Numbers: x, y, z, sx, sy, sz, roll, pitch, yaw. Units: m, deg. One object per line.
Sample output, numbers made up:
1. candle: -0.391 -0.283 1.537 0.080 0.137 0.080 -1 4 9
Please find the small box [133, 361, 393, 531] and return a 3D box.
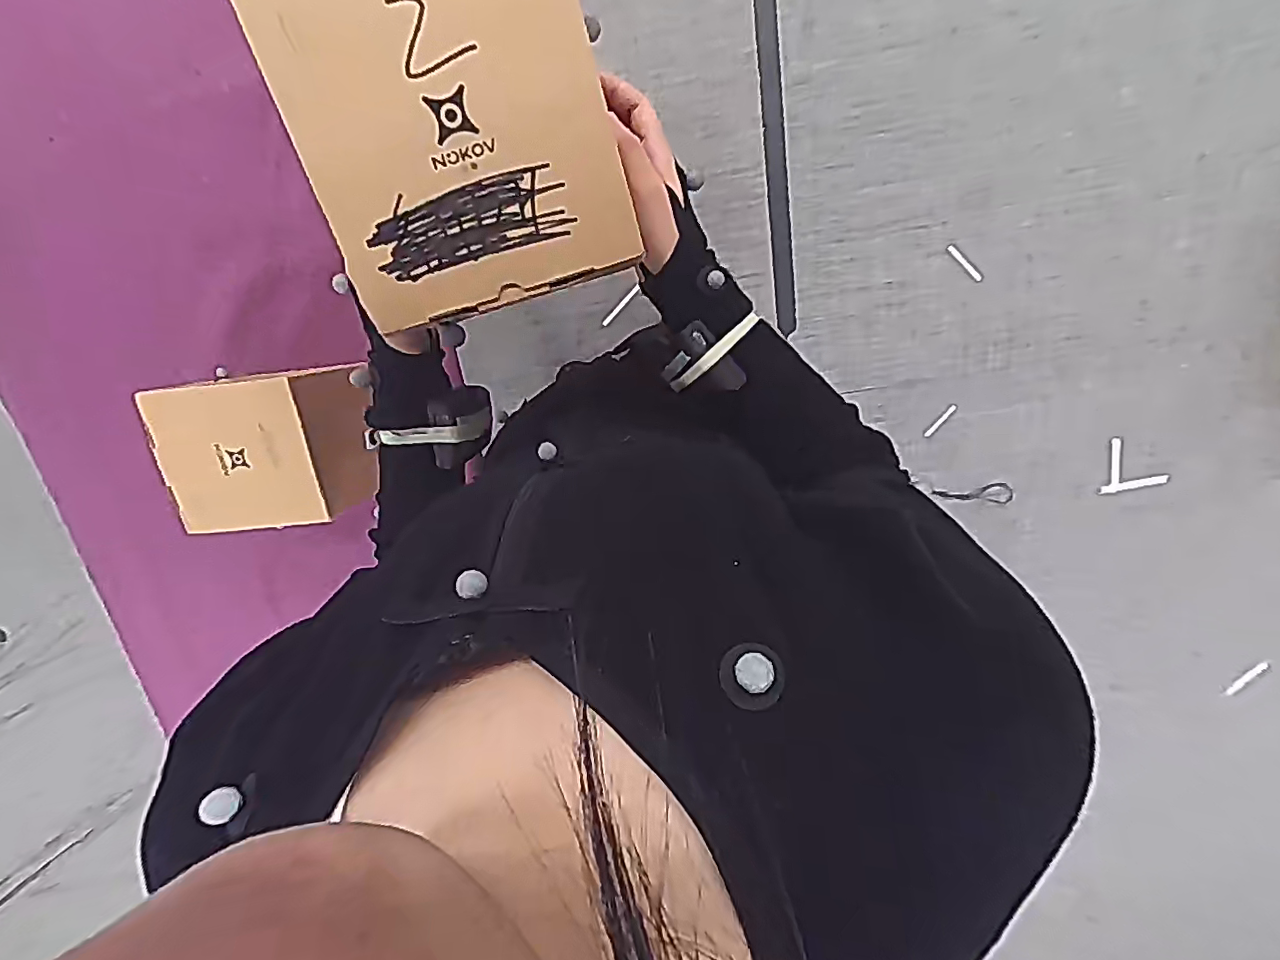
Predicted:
1. small box: -0.438 -0.050 0.662 0.179 0.176 0.168 -6 107 3
